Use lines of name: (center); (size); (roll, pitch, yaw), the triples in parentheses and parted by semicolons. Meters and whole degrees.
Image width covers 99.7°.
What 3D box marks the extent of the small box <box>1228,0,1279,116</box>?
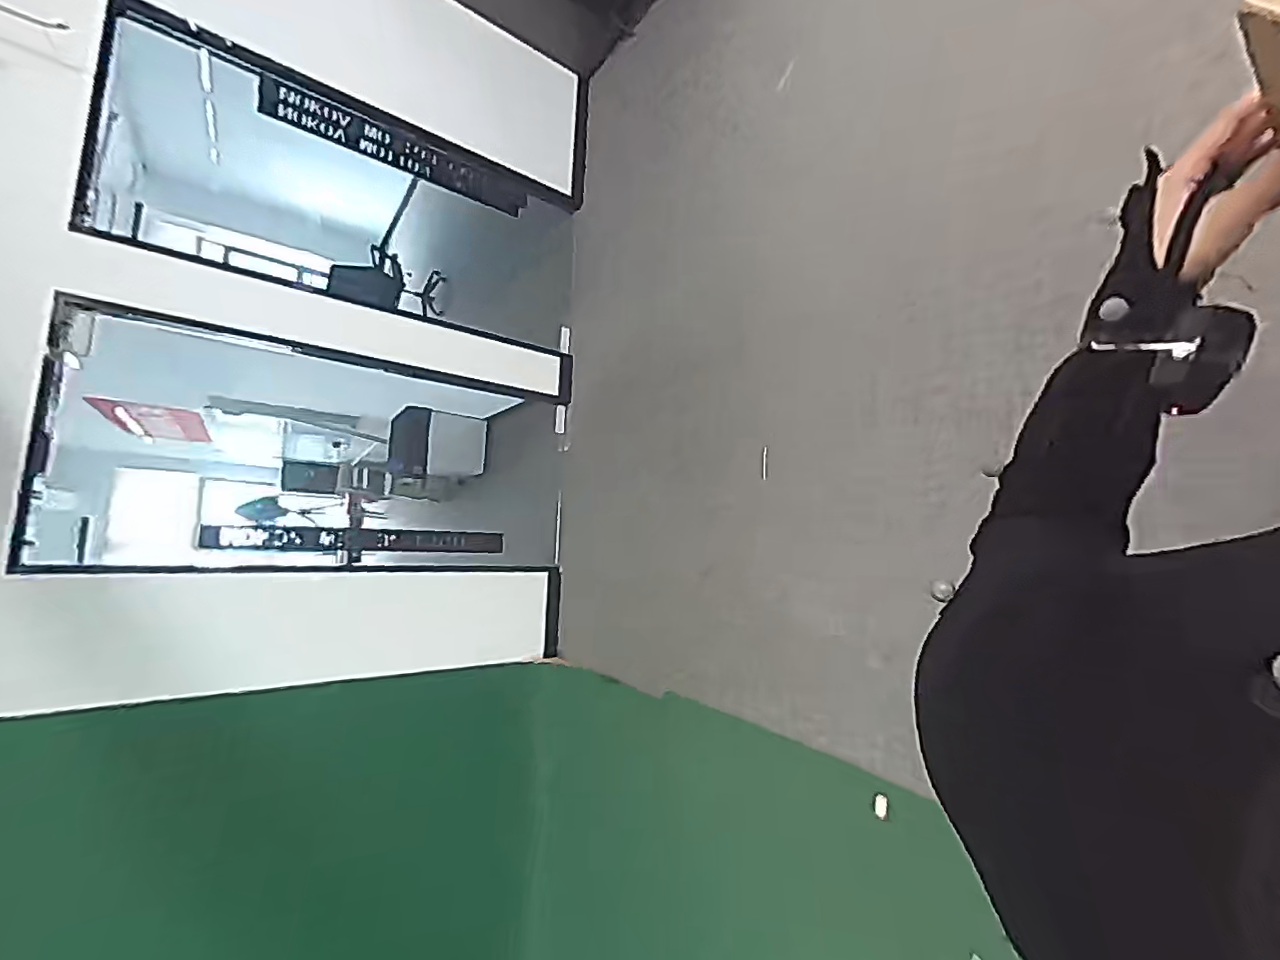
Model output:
small box: (0.439, -0.222, 0.231); (0.179, 0.176, 0.168); (-49, 42, 36)
